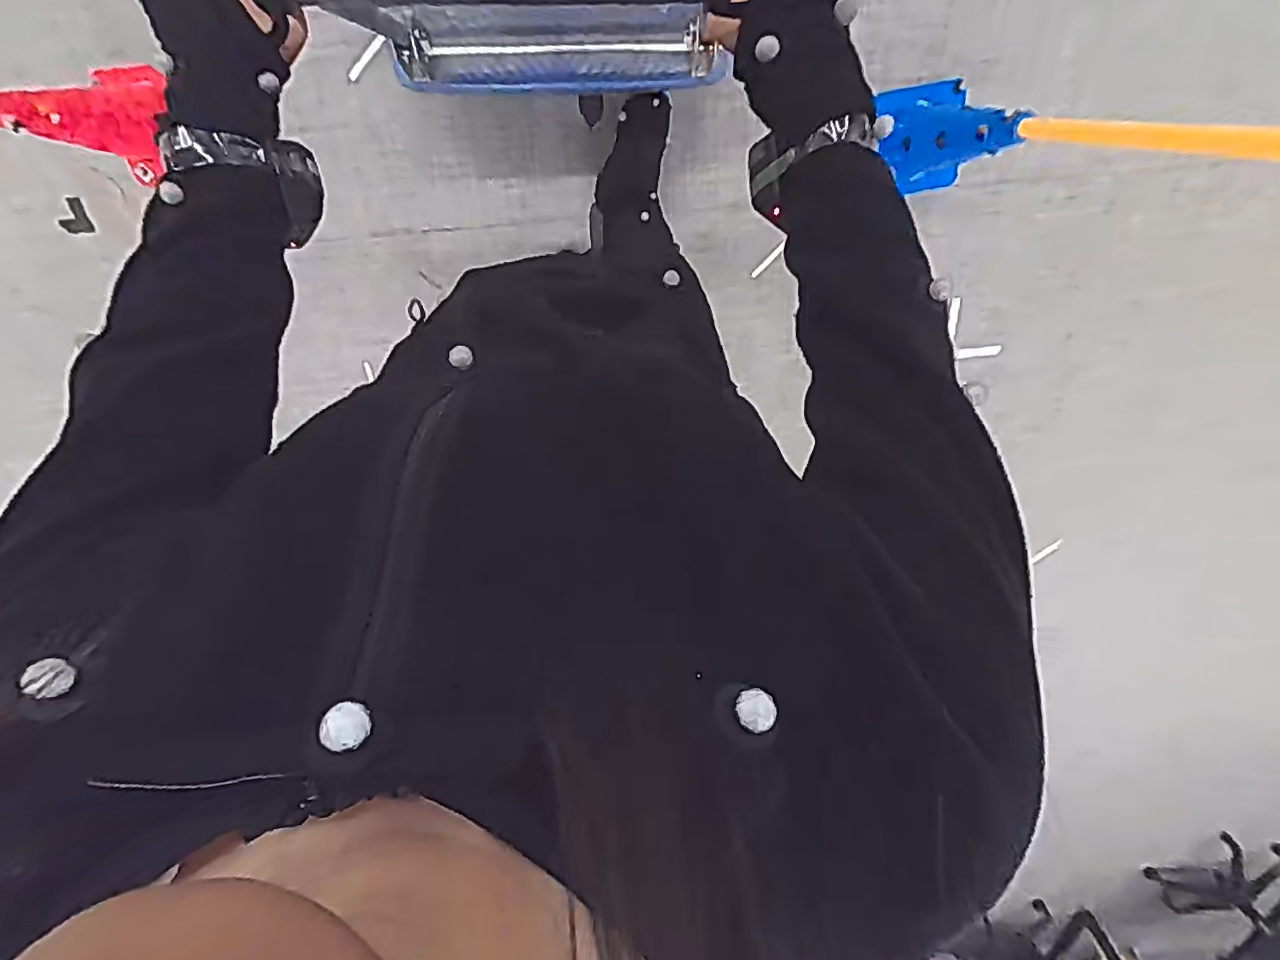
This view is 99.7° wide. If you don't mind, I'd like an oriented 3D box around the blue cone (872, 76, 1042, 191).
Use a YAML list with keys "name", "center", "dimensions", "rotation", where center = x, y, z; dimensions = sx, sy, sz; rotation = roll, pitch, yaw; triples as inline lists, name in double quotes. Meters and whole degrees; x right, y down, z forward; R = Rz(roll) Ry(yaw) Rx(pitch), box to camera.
- name: "blue cone"
  center: [0.595, -0.650, 1.000]
  dimensions: [0.193, 0.380, 0.192]
  rotation: [-8, 118, 1]
